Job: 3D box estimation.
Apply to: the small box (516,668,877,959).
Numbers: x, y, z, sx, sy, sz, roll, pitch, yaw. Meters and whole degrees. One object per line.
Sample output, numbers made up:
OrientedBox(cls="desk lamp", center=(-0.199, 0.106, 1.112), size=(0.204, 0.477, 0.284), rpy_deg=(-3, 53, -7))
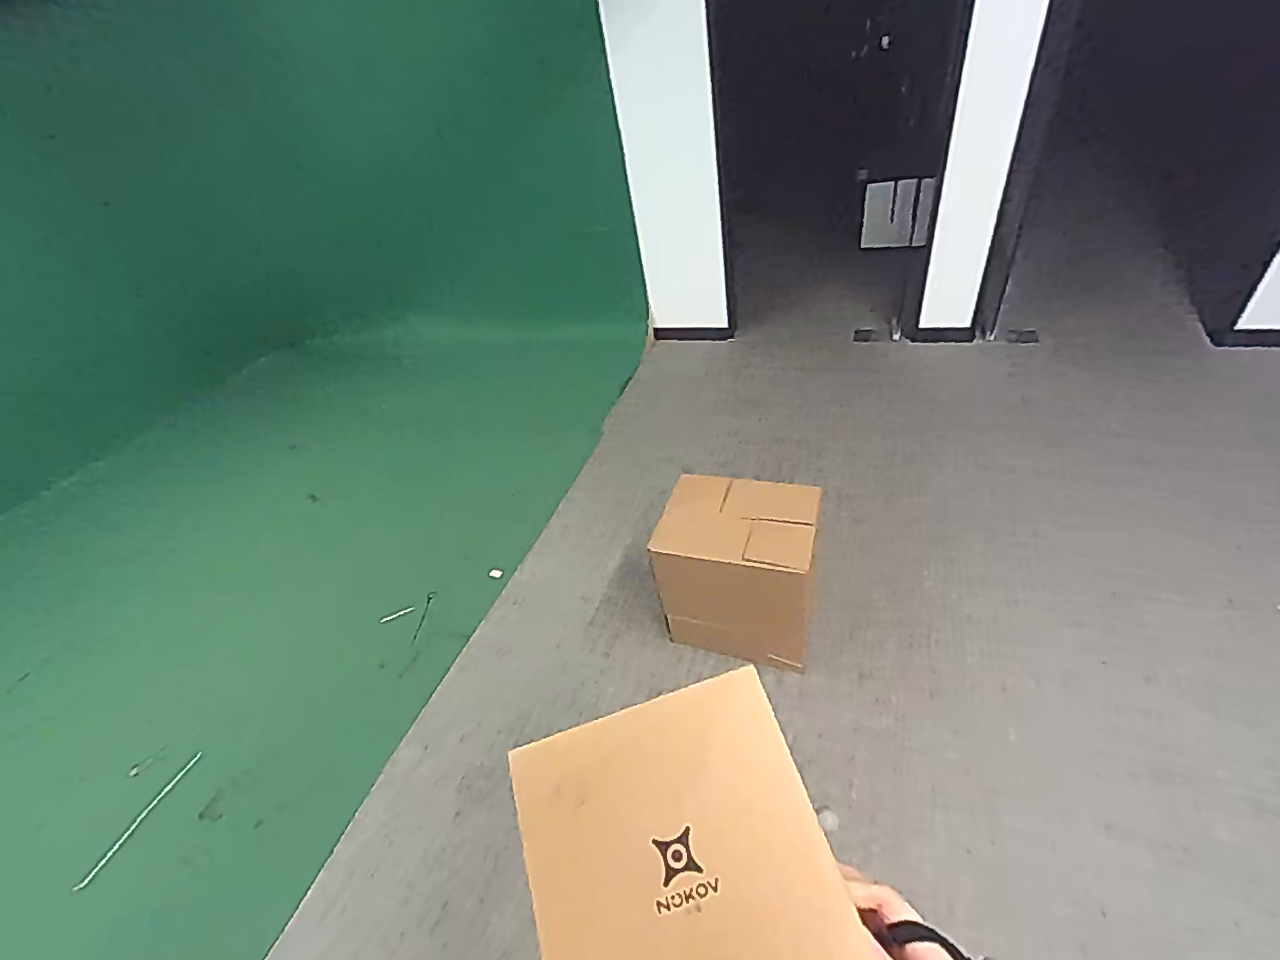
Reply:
OrientedBox(cls="small box", center=(0.030, 0.254, 0.368), size=(0.168, 0.176, 0.179), rpy_deg=(-18, 60, -5))
